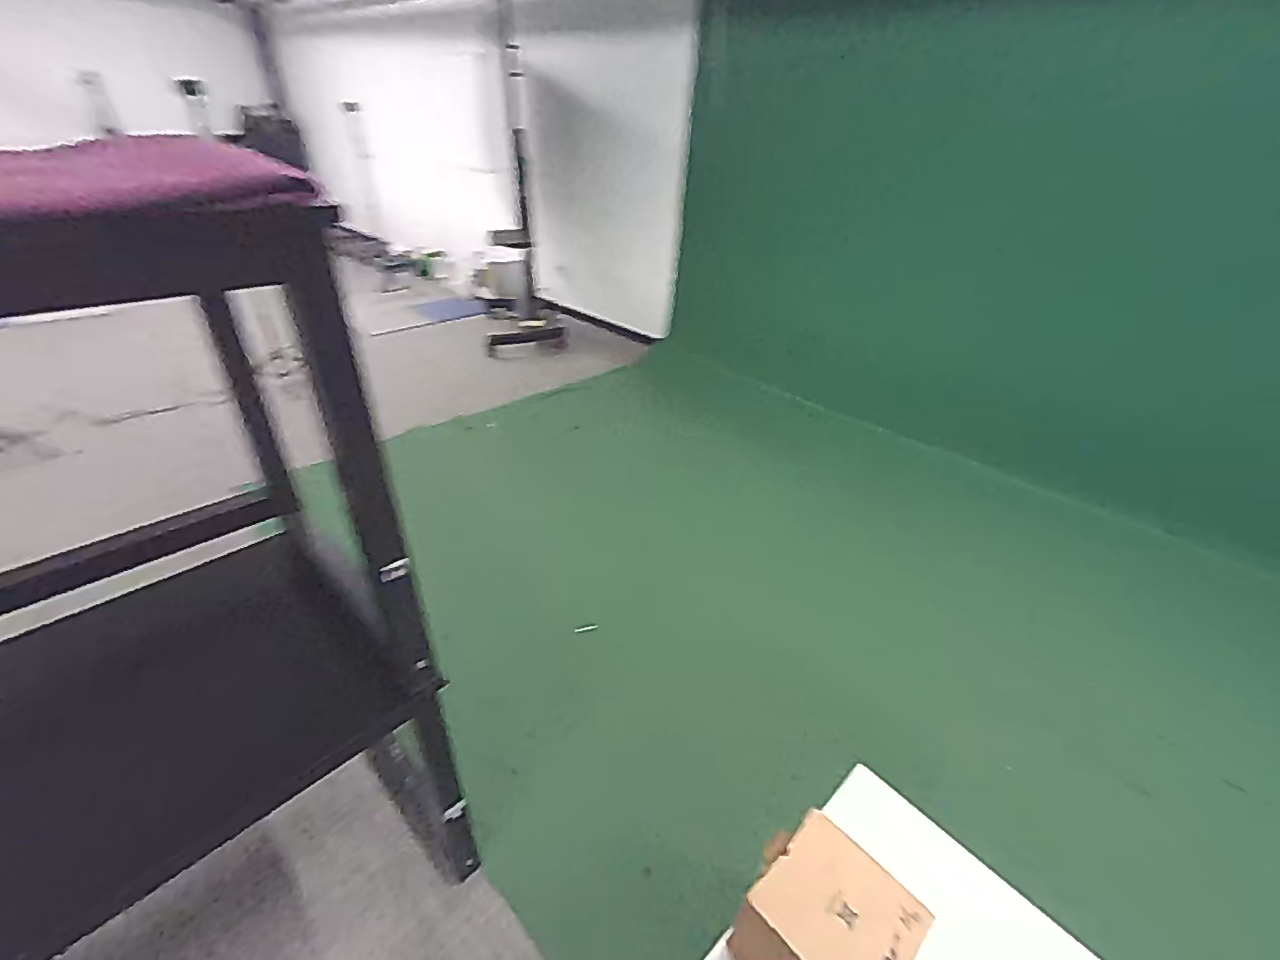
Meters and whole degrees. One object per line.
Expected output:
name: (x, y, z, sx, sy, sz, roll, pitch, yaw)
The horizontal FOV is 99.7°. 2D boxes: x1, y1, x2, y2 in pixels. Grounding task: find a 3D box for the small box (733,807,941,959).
small box: (0.241, 0.585, 0.699, 0.168, 0.176, 0.179, -24, 43, -36)
